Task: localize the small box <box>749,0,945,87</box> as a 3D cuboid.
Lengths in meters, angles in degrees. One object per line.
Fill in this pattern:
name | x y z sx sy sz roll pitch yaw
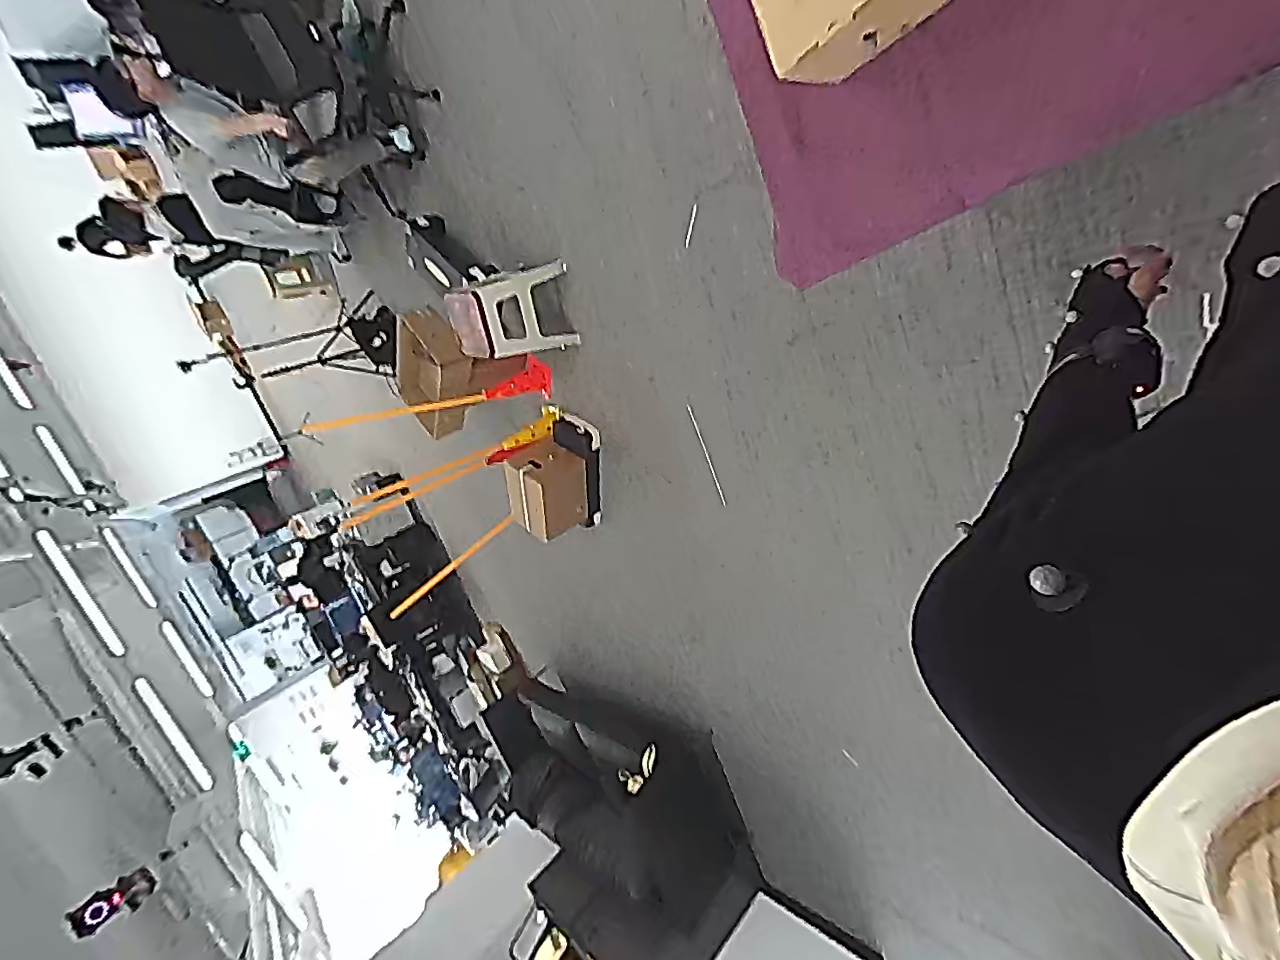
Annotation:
small box | 0.248 -0.623 0.660 0.168 0.176 0.179 -10 107 51
